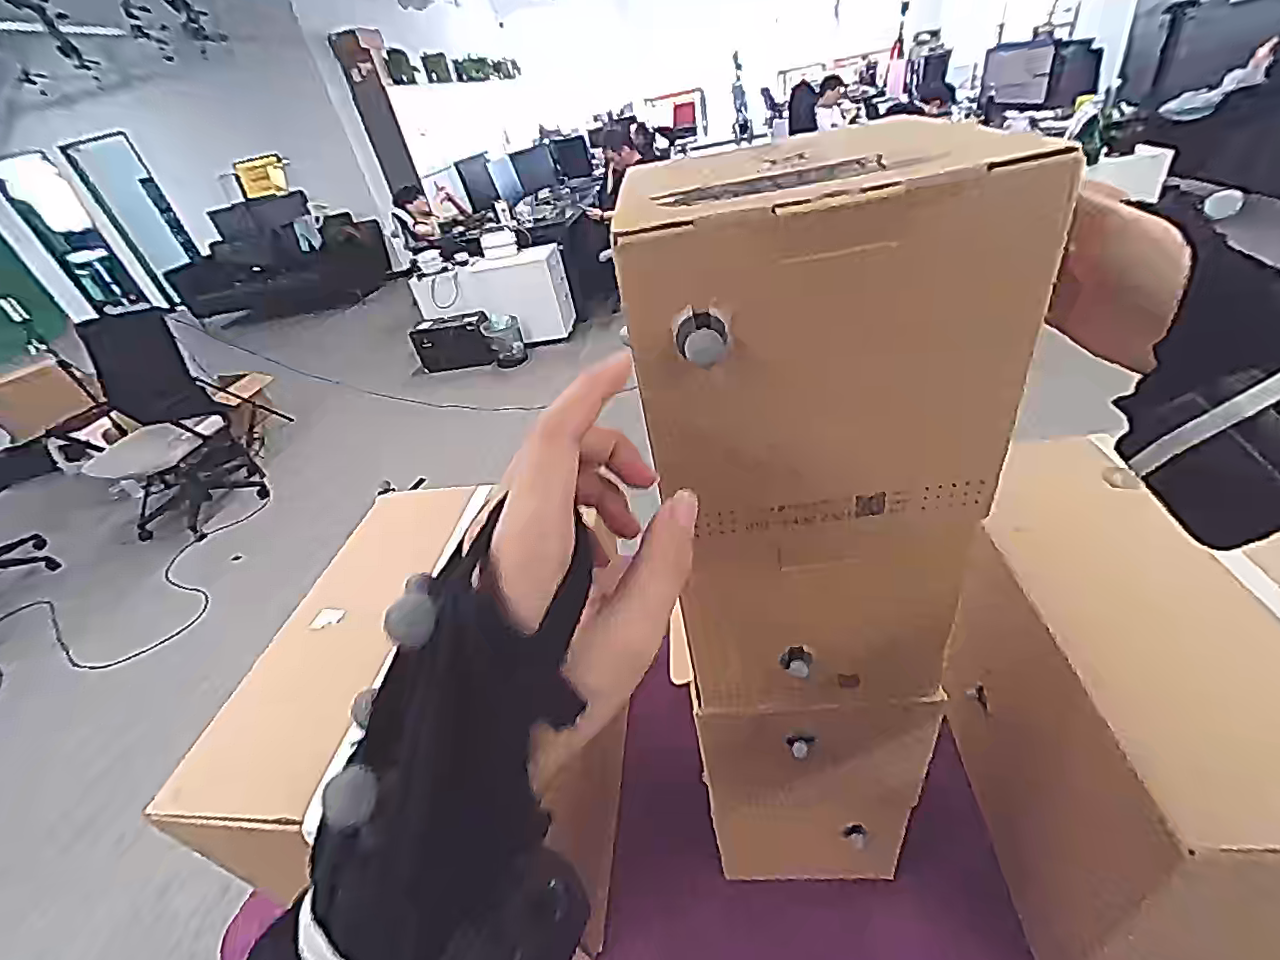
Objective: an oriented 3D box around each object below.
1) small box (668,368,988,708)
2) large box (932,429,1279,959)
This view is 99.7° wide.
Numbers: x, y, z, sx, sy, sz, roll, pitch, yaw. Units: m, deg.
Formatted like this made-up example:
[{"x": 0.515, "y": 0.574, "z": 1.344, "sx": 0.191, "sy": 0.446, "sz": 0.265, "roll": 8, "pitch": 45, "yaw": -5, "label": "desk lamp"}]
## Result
[{"x": 0.112, "y": 0.039, "z": 0.398, "sx": 0.168, "sy": 0.176, "sz": 0.179, "roll": -7, "pitch": 36, "yaw": 6, "label": "small box"}, {"x": 0.494, "y": 0.198, "z": 0.510, "sx": 0.320, "sy": 0.320, "sz": 0.408, "roll": -5, "pitch": 35, "yaw": 10, "label": "large box"}]
